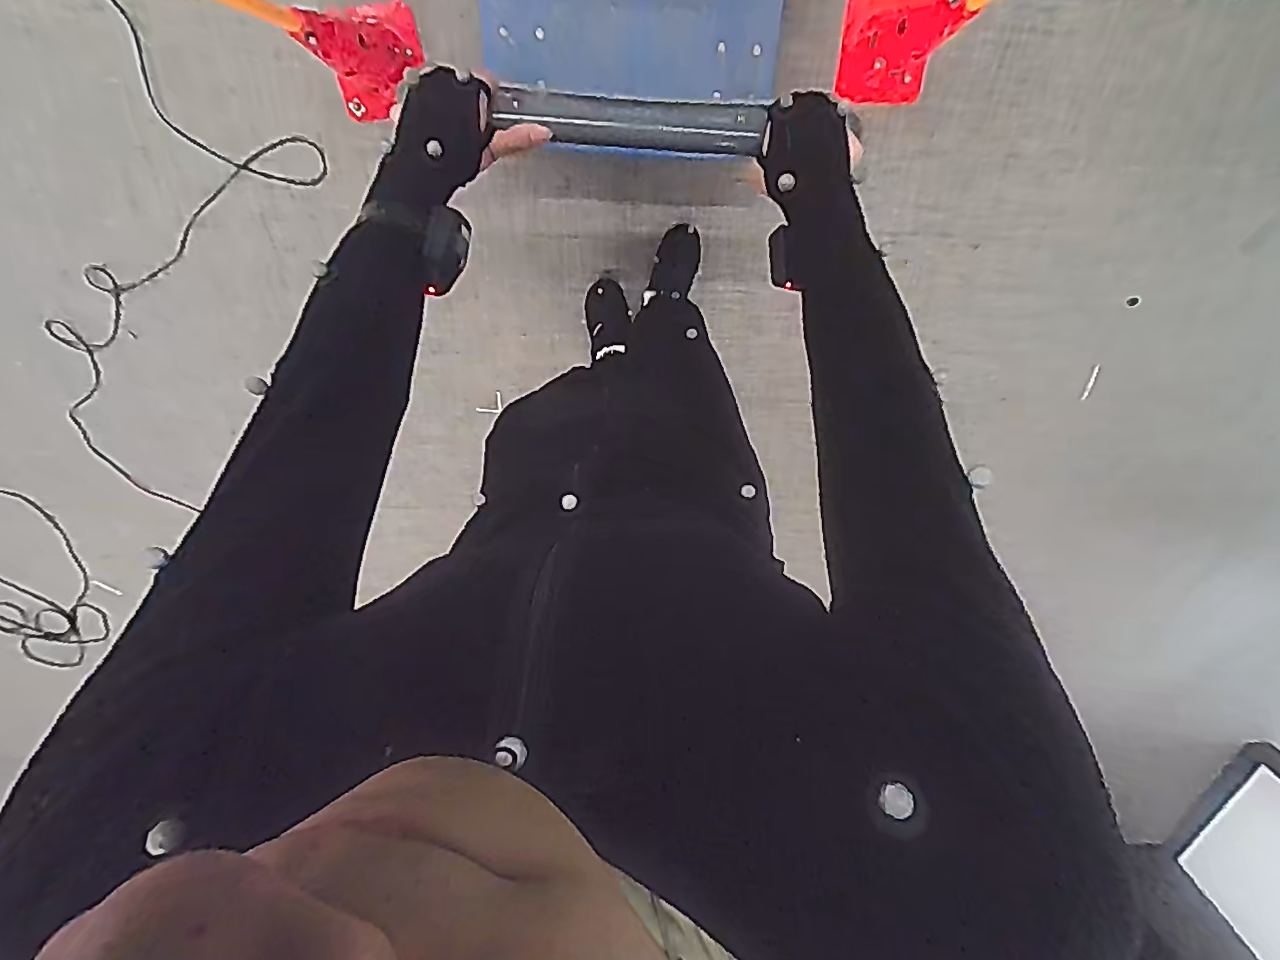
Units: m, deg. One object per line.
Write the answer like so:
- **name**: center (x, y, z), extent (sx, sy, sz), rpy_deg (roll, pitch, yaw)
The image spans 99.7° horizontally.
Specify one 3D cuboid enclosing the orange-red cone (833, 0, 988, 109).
- **orange-red cone**: center (0.540, -0.861, 1.034), extent (0.198, 0.360, 0.199), rpy_deg (0, 117, -3)
